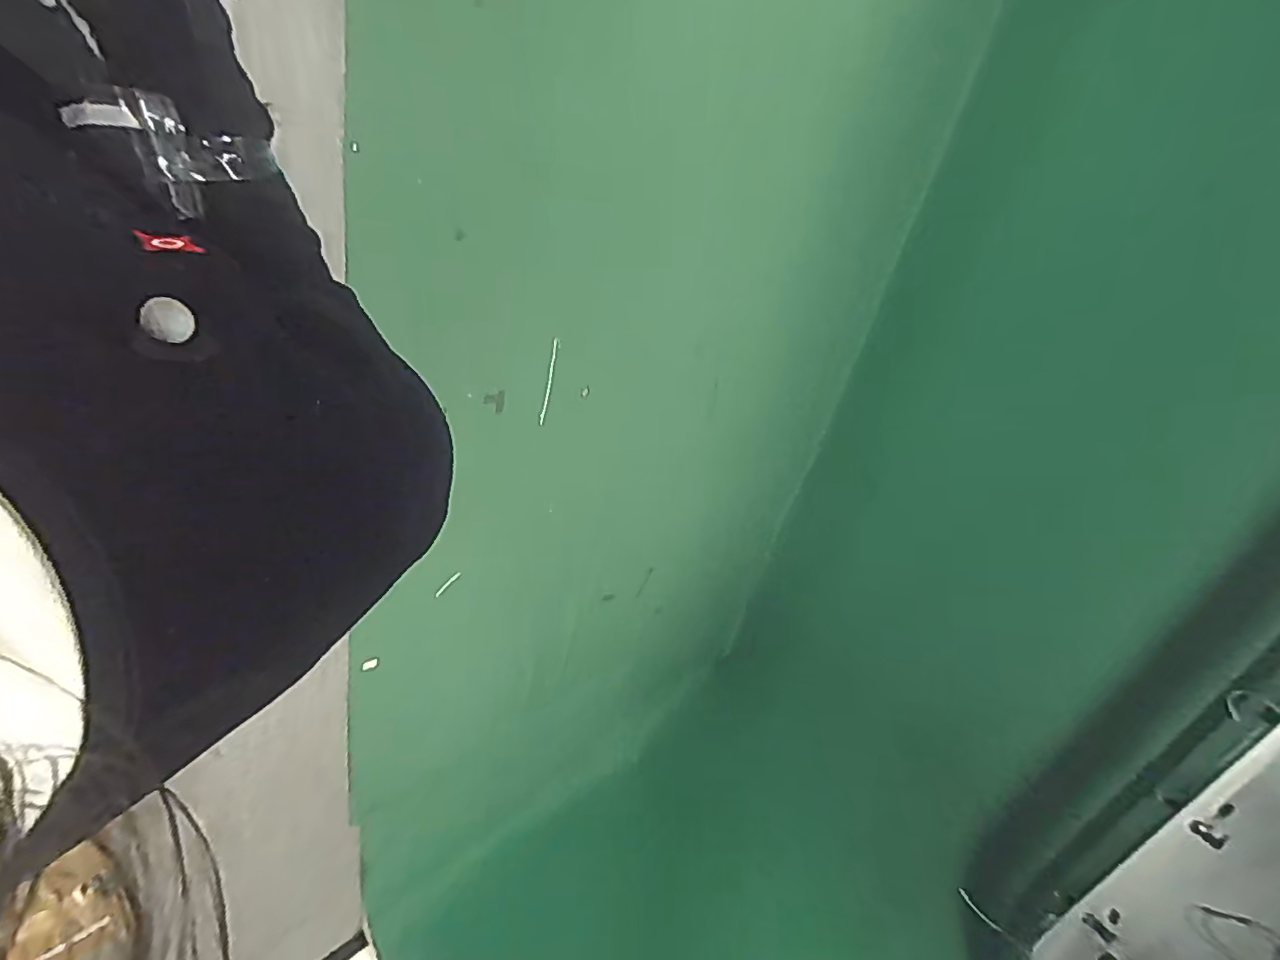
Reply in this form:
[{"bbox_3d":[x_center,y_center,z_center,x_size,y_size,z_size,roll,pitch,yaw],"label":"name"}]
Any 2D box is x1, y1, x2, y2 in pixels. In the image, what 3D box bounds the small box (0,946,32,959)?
[{"bbox_3d":[-1.368,1.119,1.098,0.179,0.176,0.168,-25,136,-36],"label":"small box"}]
